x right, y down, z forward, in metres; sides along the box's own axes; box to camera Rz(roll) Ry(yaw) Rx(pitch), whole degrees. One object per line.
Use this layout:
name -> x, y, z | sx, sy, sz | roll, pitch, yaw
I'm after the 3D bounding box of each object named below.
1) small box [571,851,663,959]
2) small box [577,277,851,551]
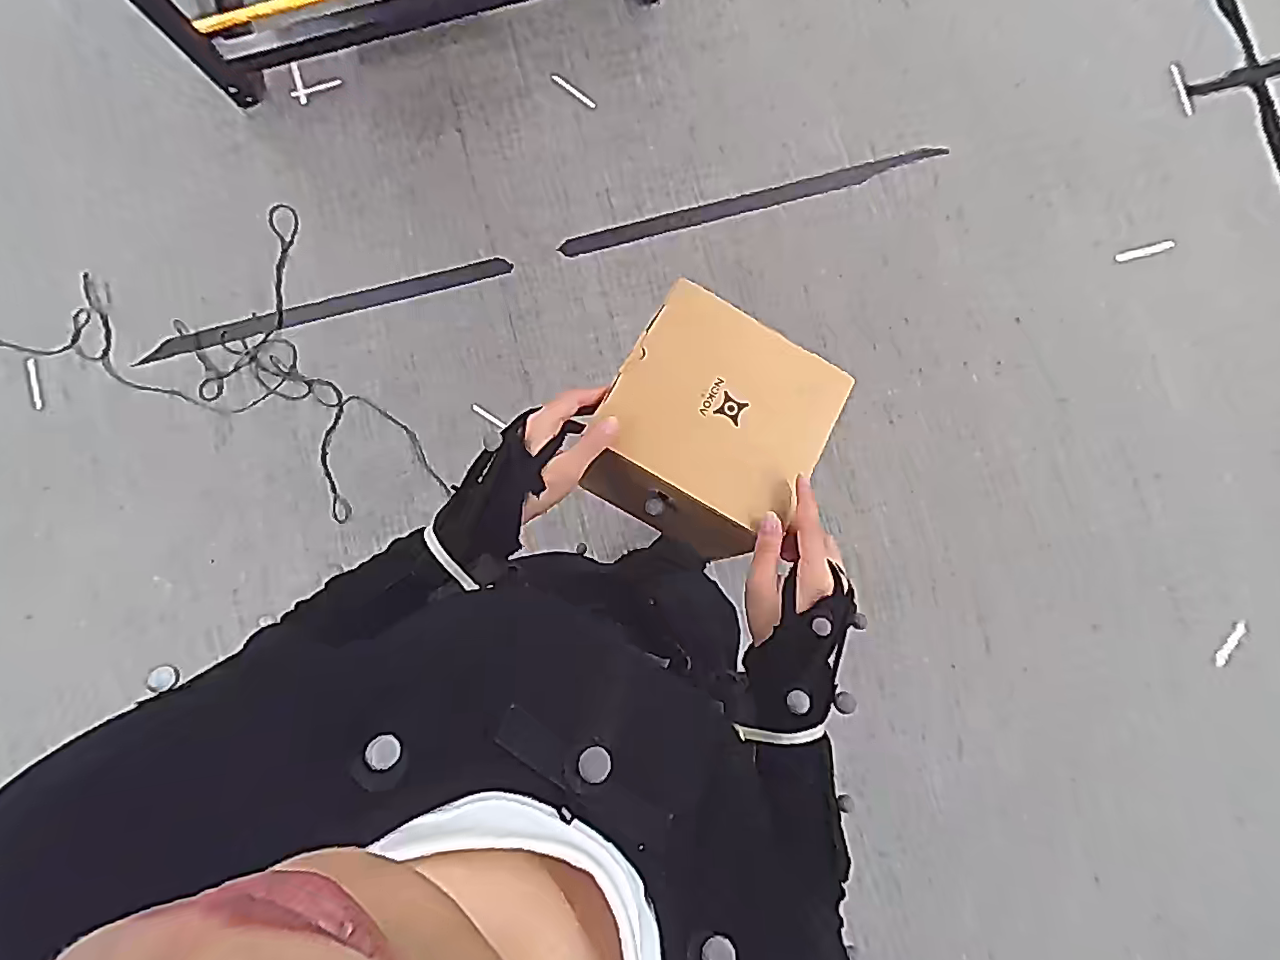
small box -> -0.047, 0.939, 1.166 | 0.168, 0.176, 0.179 | -11, 87, 0
small box -> 0.055, -0.044, 0.508 | 0.179, 0.176, 0.168 | 29, 74, -1
